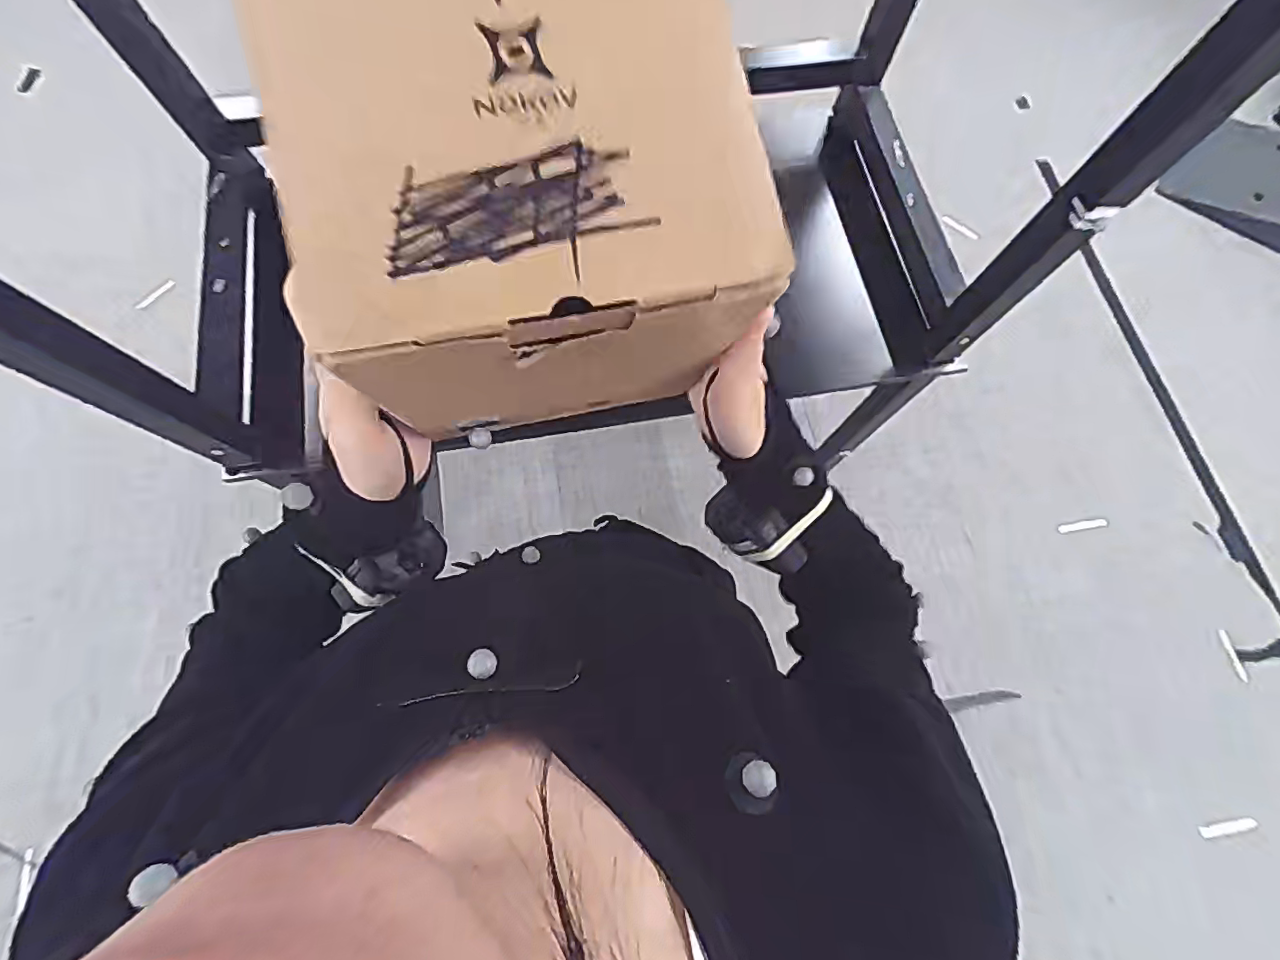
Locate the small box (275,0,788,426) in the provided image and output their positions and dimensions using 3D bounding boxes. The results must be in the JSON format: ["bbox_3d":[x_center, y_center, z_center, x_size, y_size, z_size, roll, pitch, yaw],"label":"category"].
[{"bbox_3d":[-0.050,-0.131,0.275,0.168,0.176,0.179,-11,86,-11],"label":"small box"}]
